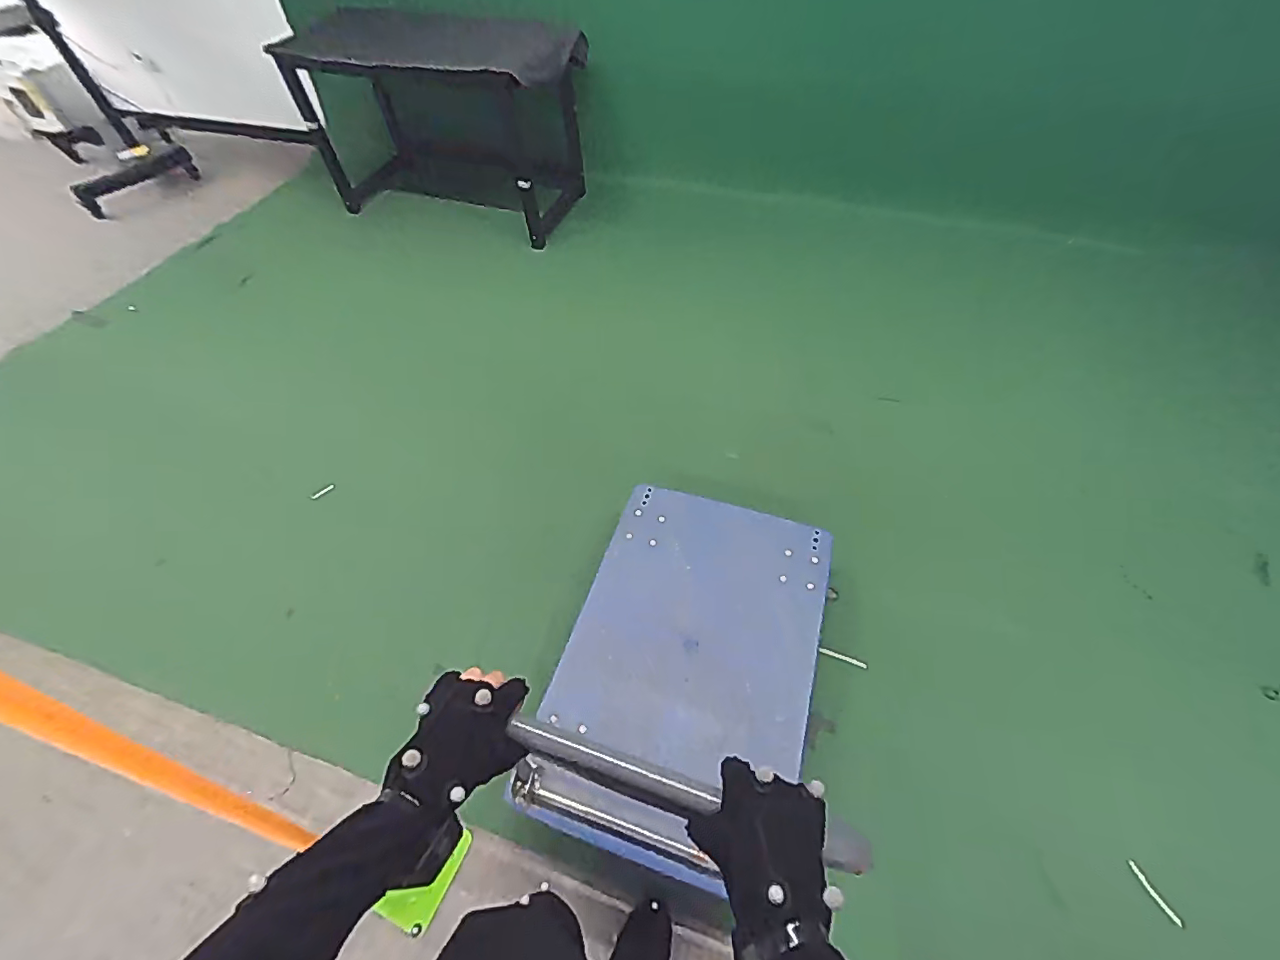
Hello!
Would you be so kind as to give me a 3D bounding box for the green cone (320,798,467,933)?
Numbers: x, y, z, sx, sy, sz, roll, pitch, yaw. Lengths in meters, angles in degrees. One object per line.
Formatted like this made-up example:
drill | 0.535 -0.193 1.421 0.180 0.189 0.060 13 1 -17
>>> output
green cone | -0.515 0.739 1.063 0.202 0.368 0.200 18 54 15
